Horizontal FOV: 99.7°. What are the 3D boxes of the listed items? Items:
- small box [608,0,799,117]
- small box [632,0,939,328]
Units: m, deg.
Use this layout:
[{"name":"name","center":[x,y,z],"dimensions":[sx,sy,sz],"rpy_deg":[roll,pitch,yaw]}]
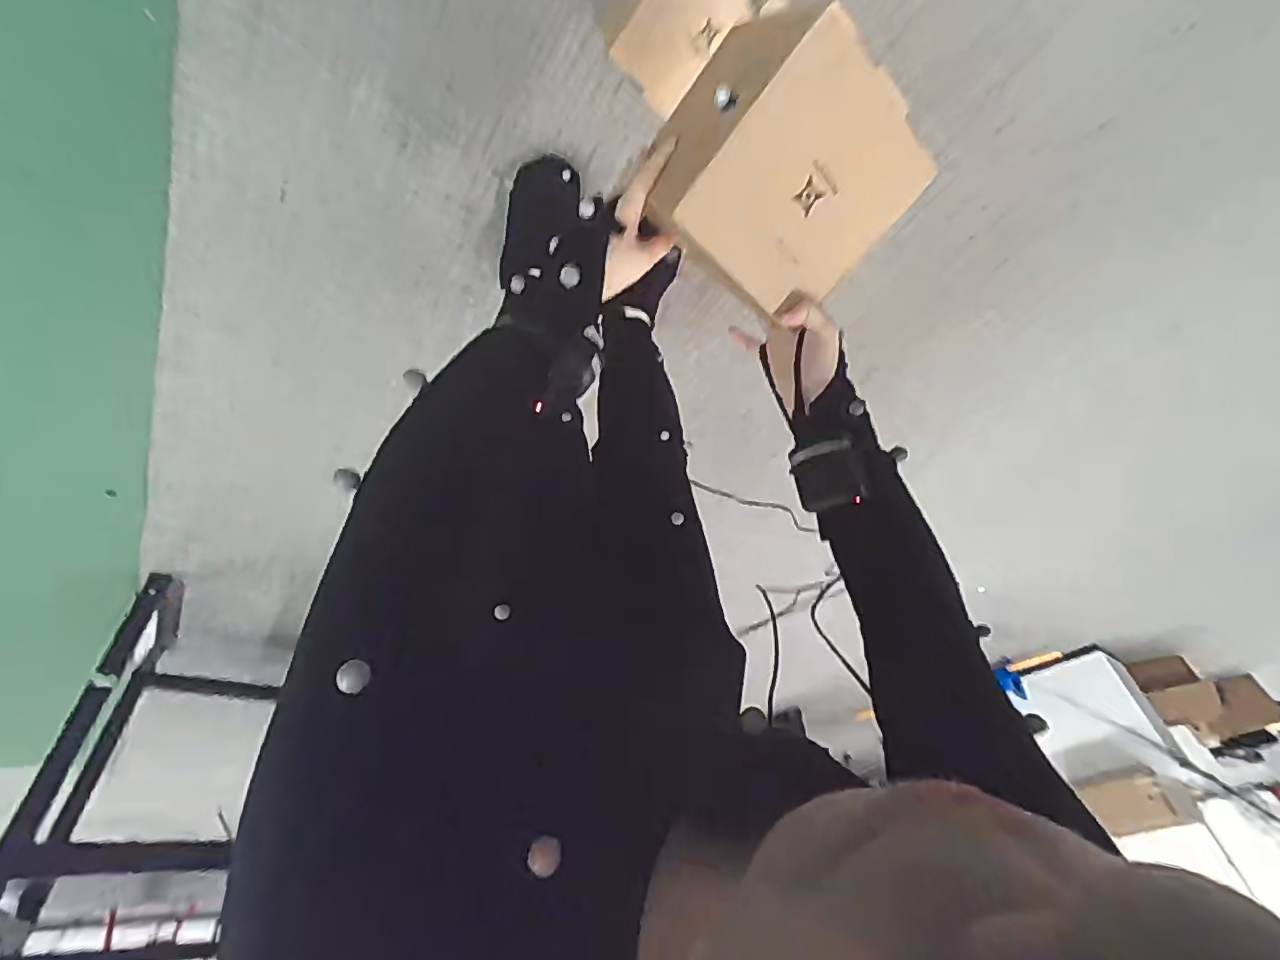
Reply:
[{"name":"small box","center":[0.074,-0.583,0.692],"dimensions":[0.168,0.176,0.179],"rpy_deg":[26,130,-31]},{"name":"small box","center":[0.115,-0.278,0.491],"dimensions":[0.168,0.176,0.179],"rpy_deg":[31,111,-31]}]
